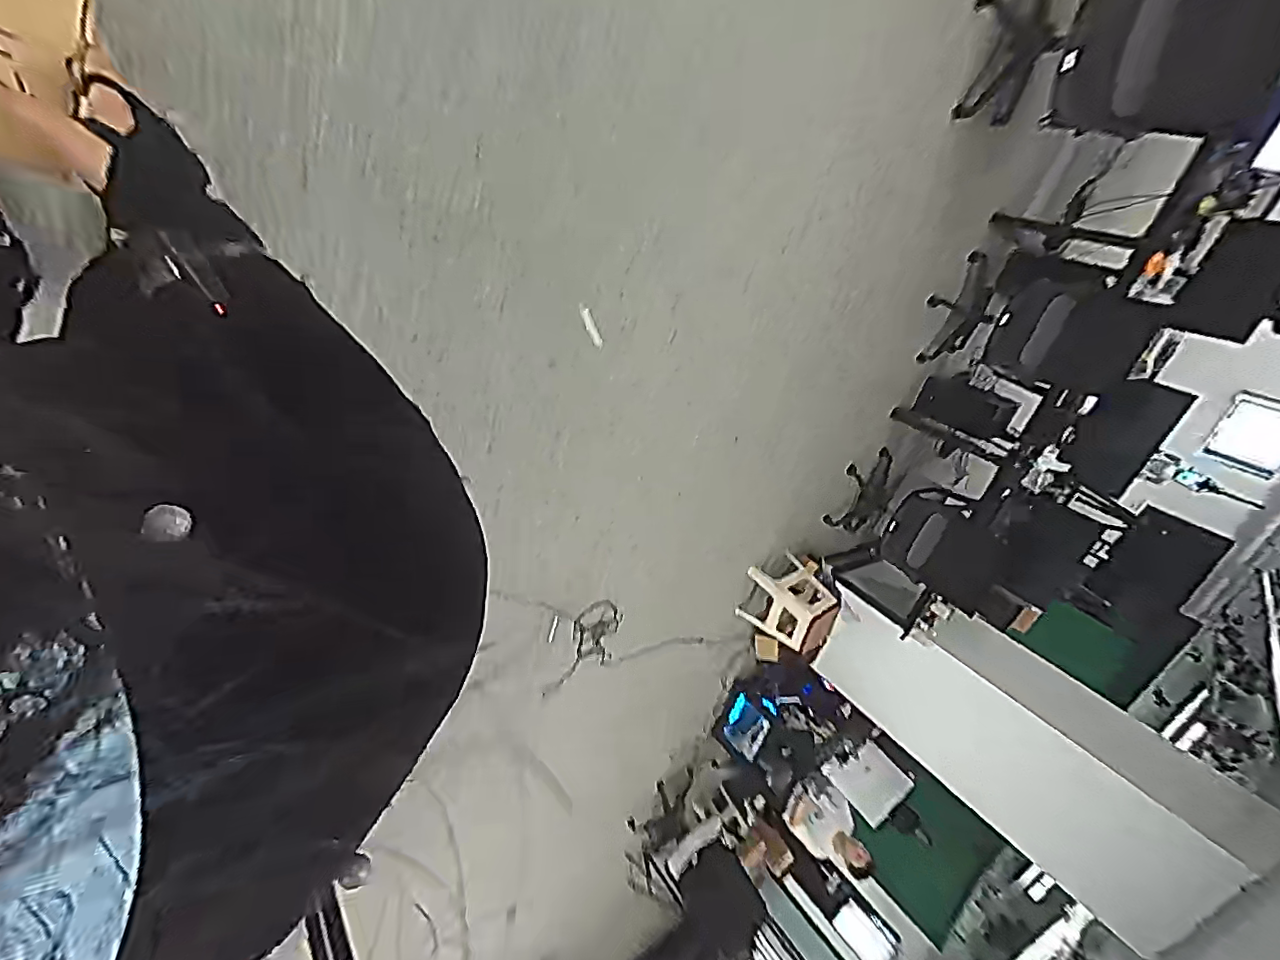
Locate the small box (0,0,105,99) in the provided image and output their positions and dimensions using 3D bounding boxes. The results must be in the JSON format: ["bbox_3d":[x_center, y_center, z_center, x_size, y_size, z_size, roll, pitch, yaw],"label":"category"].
[{"bbox_3d":[-0.882,-0.662,0.757,0.168,0.176,0.179,-10,126,-39],"label":"small box"}]
